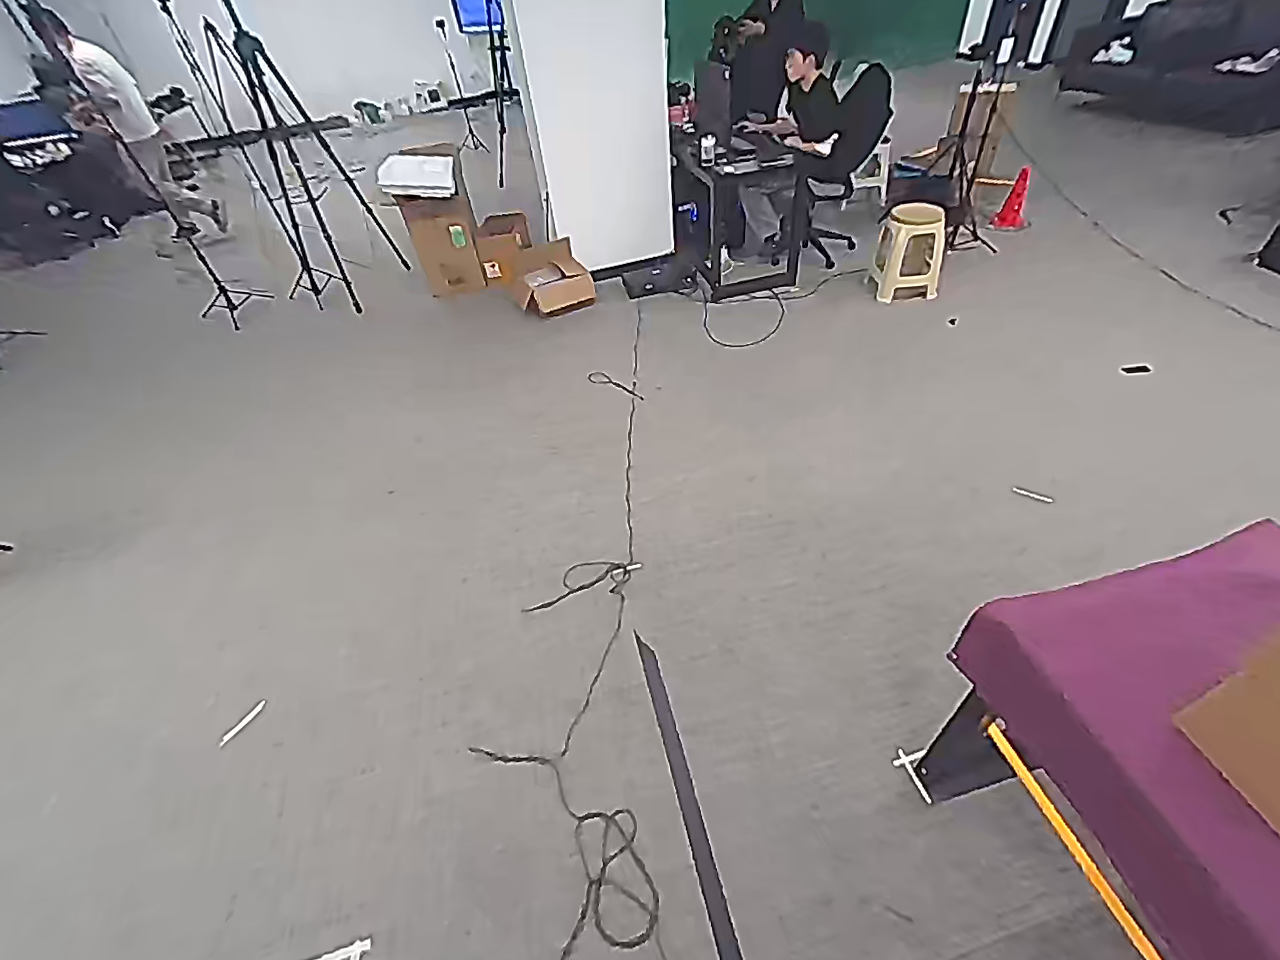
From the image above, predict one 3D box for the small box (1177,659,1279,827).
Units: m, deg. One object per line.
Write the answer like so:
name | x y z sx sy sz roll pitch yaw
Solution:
small box | 0.894 0.344 0.709 0.168 0.176 0.179 -12 44 -5
